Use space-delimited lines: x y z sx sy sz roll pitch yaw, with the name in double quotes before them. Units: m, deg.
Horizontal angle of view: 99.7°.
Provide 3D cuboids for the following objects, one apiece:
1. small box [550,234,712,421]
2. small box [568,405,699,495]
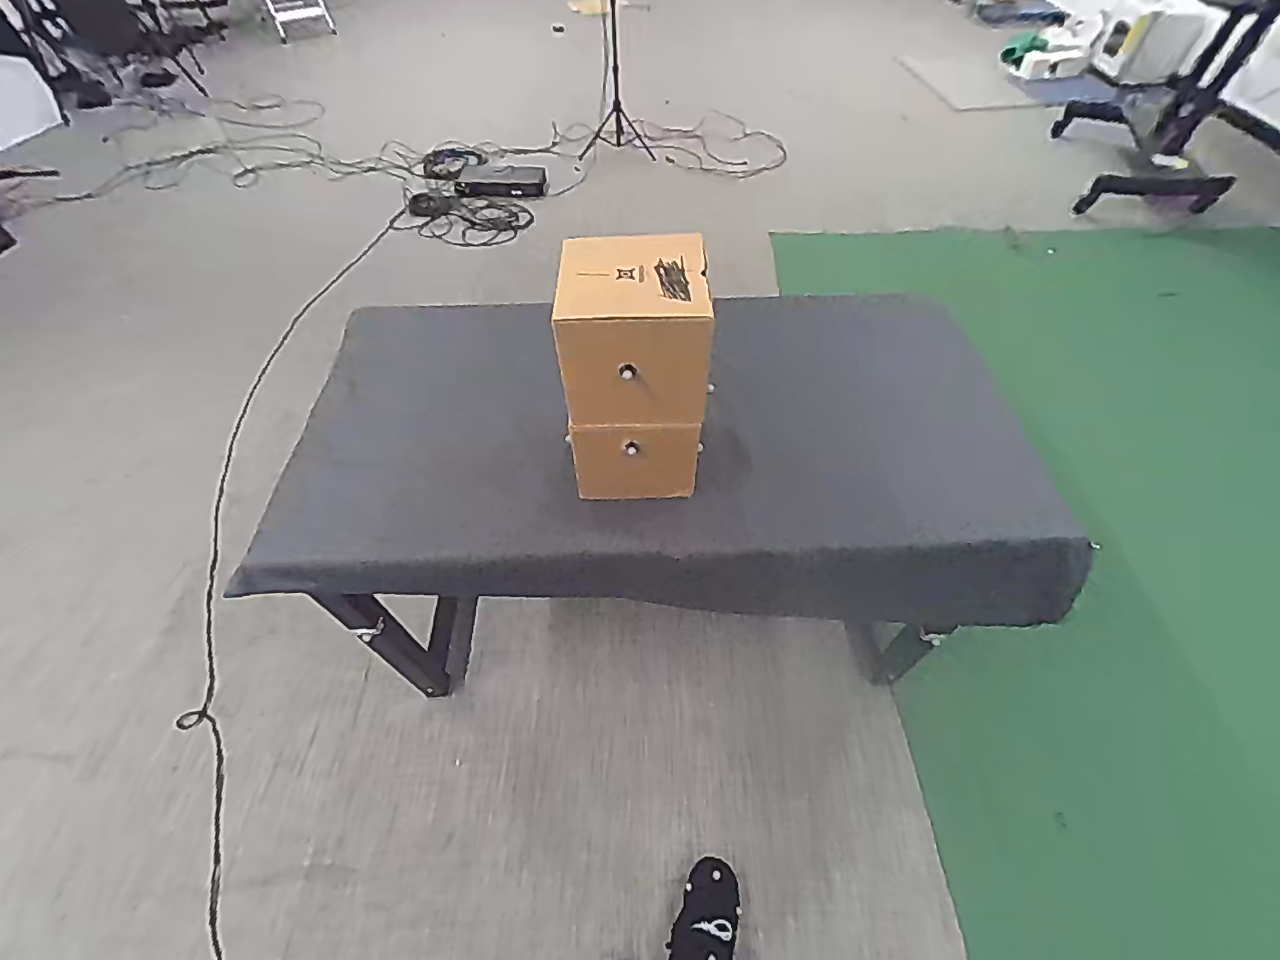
"small box" -0.008 -0.188 0.687 0.179 0.176 0.168 -1 54 1
"small box" -0.009 -0.088 0.819 0.179 0.176 0.168 0 54 -1
